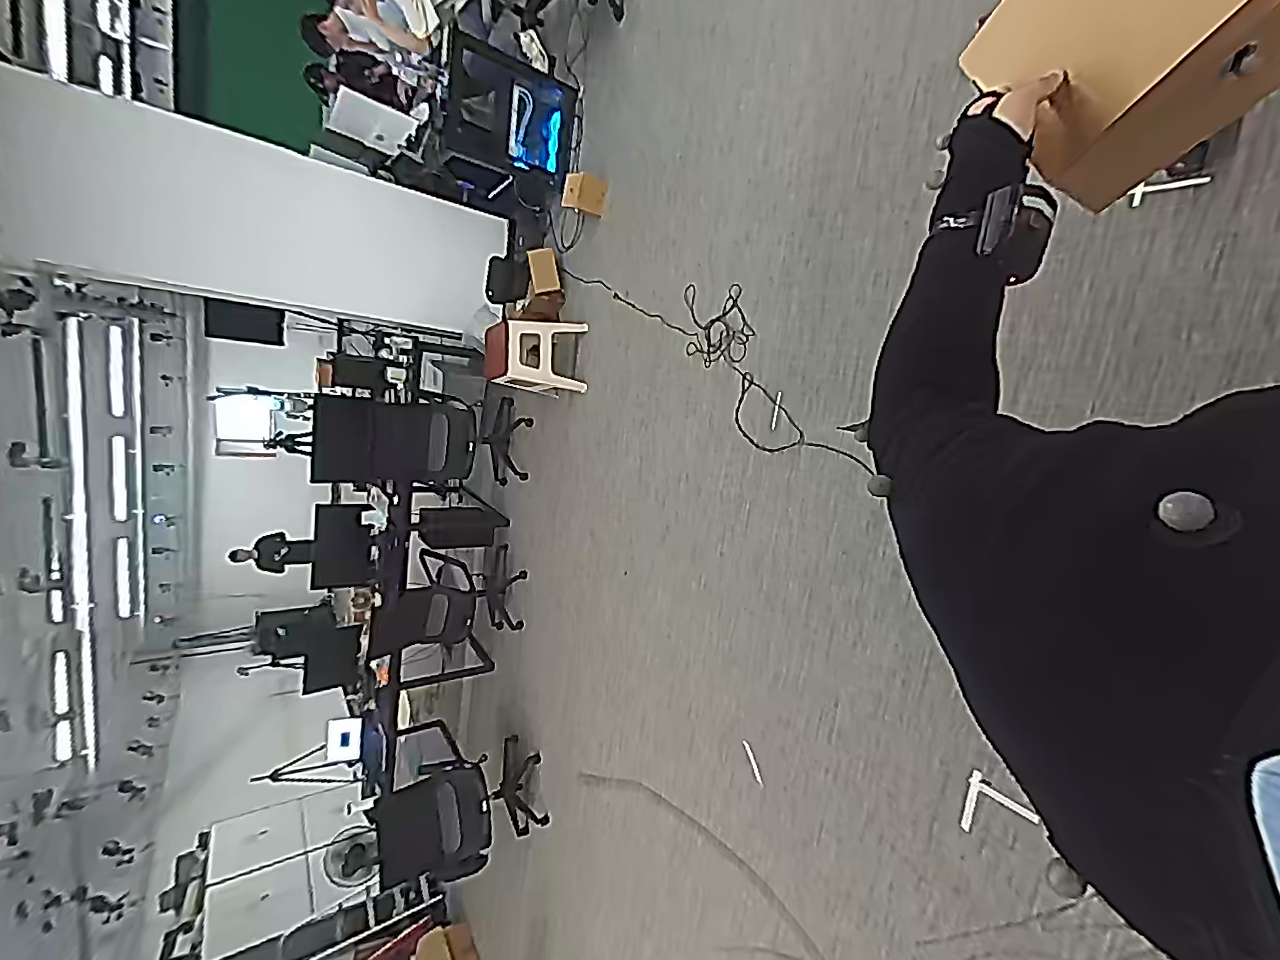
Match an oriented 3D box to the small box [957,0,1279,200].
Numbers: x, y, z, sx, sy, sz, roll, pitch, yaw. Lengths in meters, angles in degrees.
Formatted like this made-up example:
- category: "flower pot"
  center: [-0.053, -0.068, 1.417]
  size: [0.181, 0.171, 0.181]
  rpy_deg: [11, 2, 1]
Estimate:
- category: "small box"
  center: [0.445, -0.395, 0.495]
  size: [0.179, 0.176, 0.168]
  rpy_deg: [-40, 65, 49]
